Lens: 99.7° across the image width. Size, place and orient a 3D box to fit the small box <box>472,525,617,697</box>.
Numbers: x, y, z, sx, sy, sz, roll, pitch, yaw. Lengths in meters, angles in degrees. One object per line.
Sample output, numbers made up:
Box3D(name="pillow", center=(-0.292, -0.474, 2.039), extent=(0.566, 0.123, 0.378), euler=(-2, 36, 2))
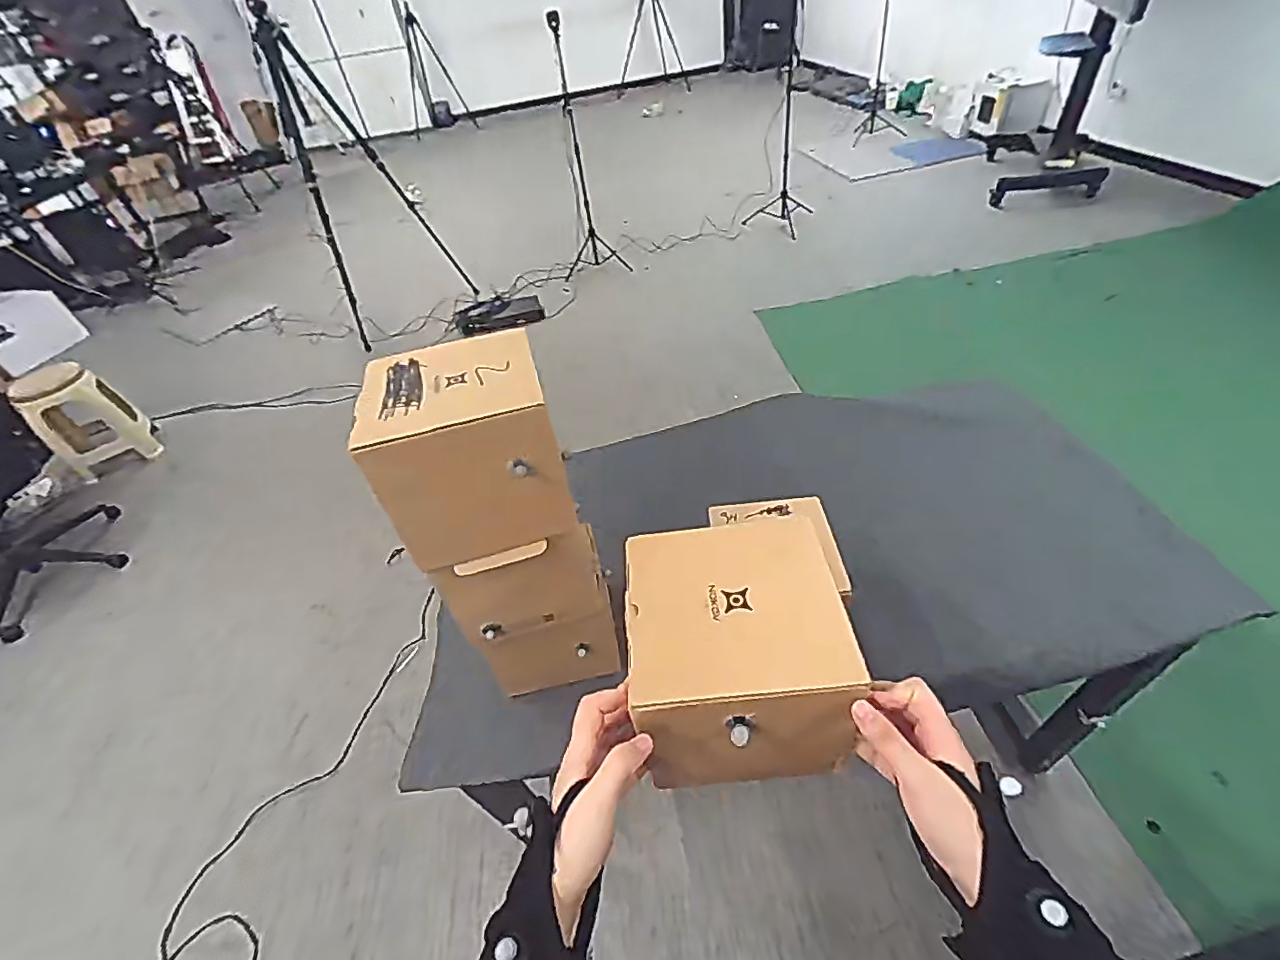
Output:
Box3D(name="small box", center=(-0.137, 0.198, 0.814), extent=(0.179, 0.176, 0.168), euler=(-14, 42, -2))

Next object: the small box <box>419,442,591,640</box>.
Box3D(name="small box", center=(-0.169, 0.084, 0.700), extent=(0.168, 0.176, 0.179), euler=(-16, 41, -6))

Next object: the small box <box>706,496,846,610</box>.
Box3D(name="small box", center=(0.191, 0.150, 0.796), extent=(0.168, 0.176, 0.179), euler=(-7, 43, 5))

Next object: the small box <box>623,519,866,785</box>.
Box3D(name="small box", center=(0.084, 0.160, 0.495), extent=(0.179, 0.176, 0.168), euler=(-8, 43, 5))
